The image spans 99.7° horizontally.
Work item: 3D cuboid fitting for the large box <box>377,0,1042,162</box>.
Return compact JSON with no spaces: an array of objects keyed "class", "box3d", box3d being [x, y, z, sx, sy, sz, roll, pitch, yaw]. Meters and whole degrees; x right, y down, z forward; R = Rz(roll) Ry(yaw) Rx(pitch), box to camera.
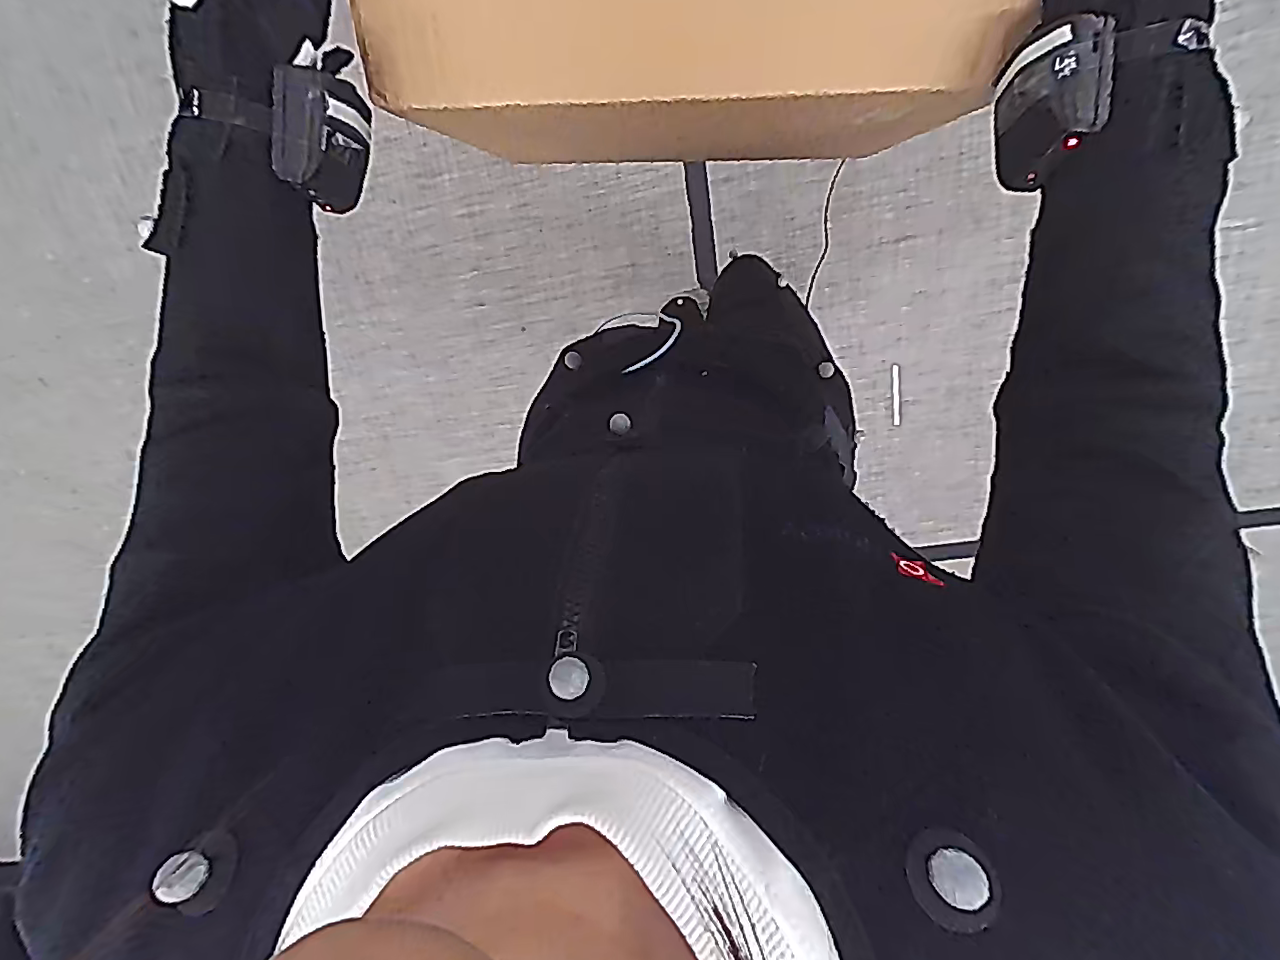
[{"class":"large box","box3d":[0.039,-0.447,0.414,0.408,0.320,0.320,0,115,3]}]
